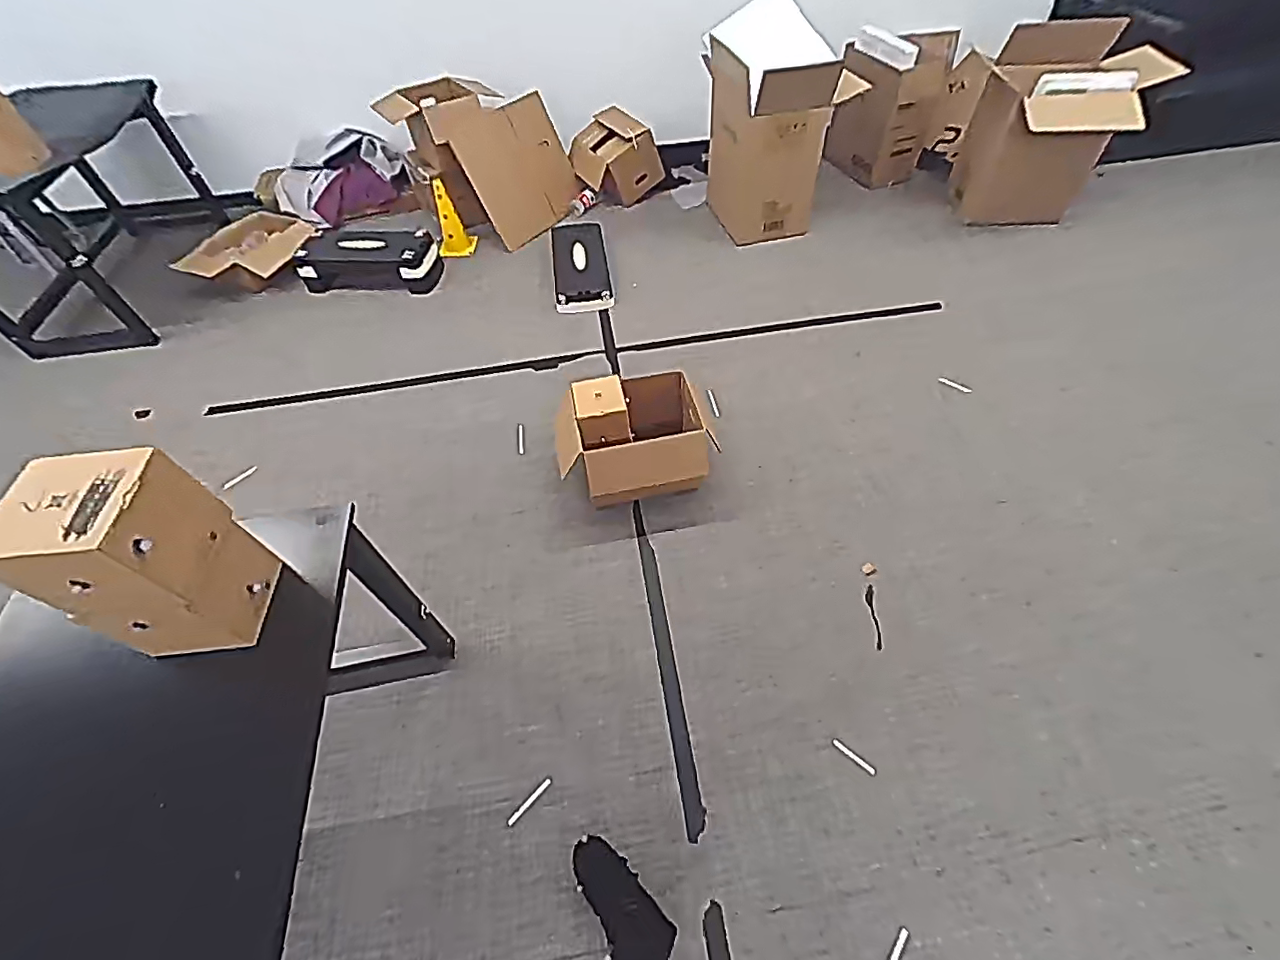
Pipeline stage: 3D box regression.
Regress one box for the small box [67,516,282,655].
[{"bbox_3d":[-0.746,0.179,0.893,0.179,0.176,0.168,-5,54,-1],"label":"small box"}]
